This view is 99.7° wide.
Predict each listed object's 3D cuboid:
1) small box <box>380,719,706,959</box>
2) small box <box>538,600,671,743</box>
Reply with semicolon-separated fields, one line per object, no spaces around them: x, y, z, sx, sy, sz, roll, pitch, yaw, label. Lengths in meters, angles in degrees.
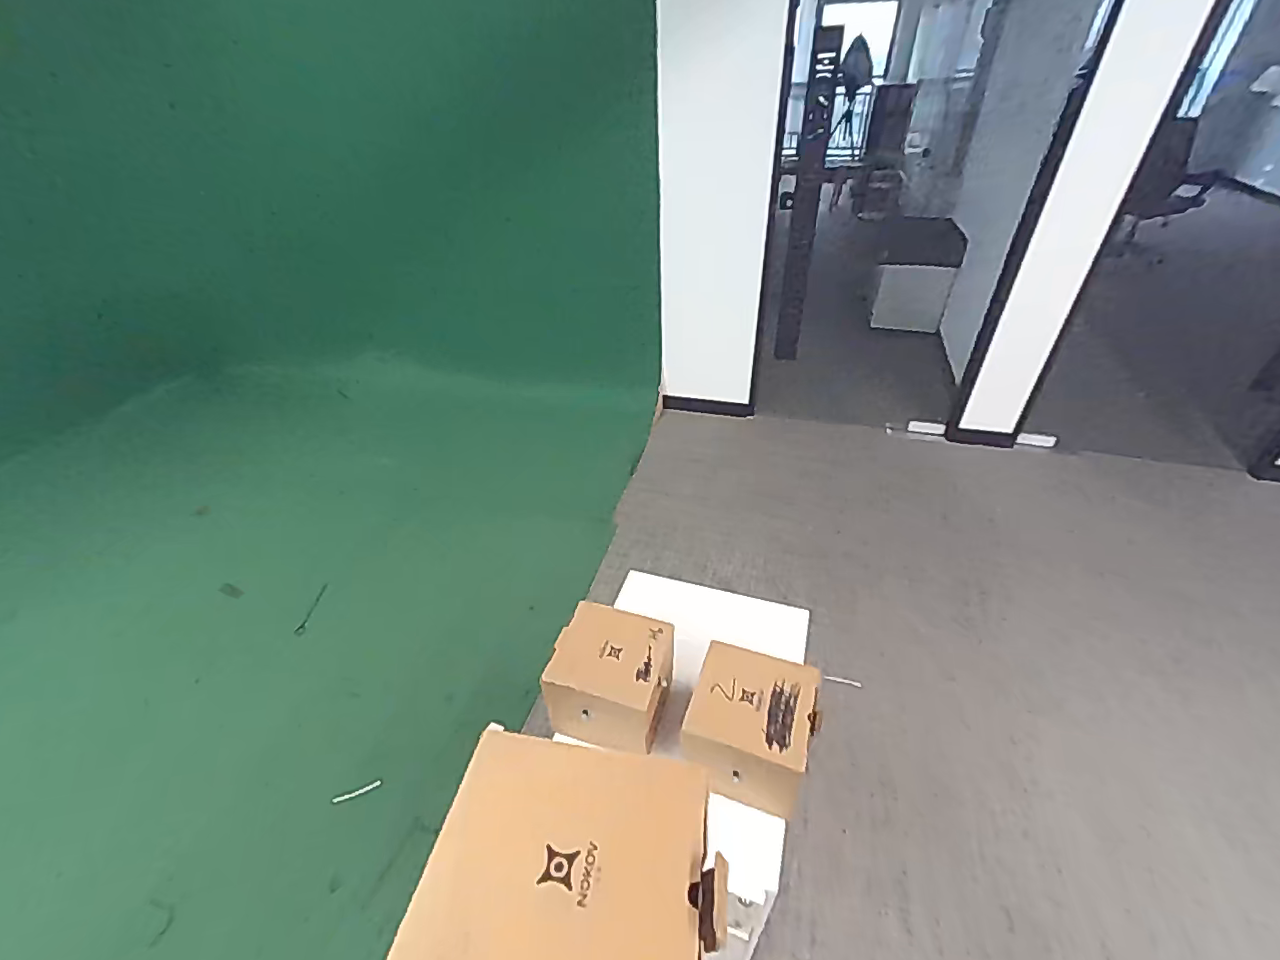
-0.051;0.307;0.390;0.179;0.176;0.168;7;33;5;small box
-0.052;0.337;0.924;0.179;0.176;0.168;11;41;15;small box
